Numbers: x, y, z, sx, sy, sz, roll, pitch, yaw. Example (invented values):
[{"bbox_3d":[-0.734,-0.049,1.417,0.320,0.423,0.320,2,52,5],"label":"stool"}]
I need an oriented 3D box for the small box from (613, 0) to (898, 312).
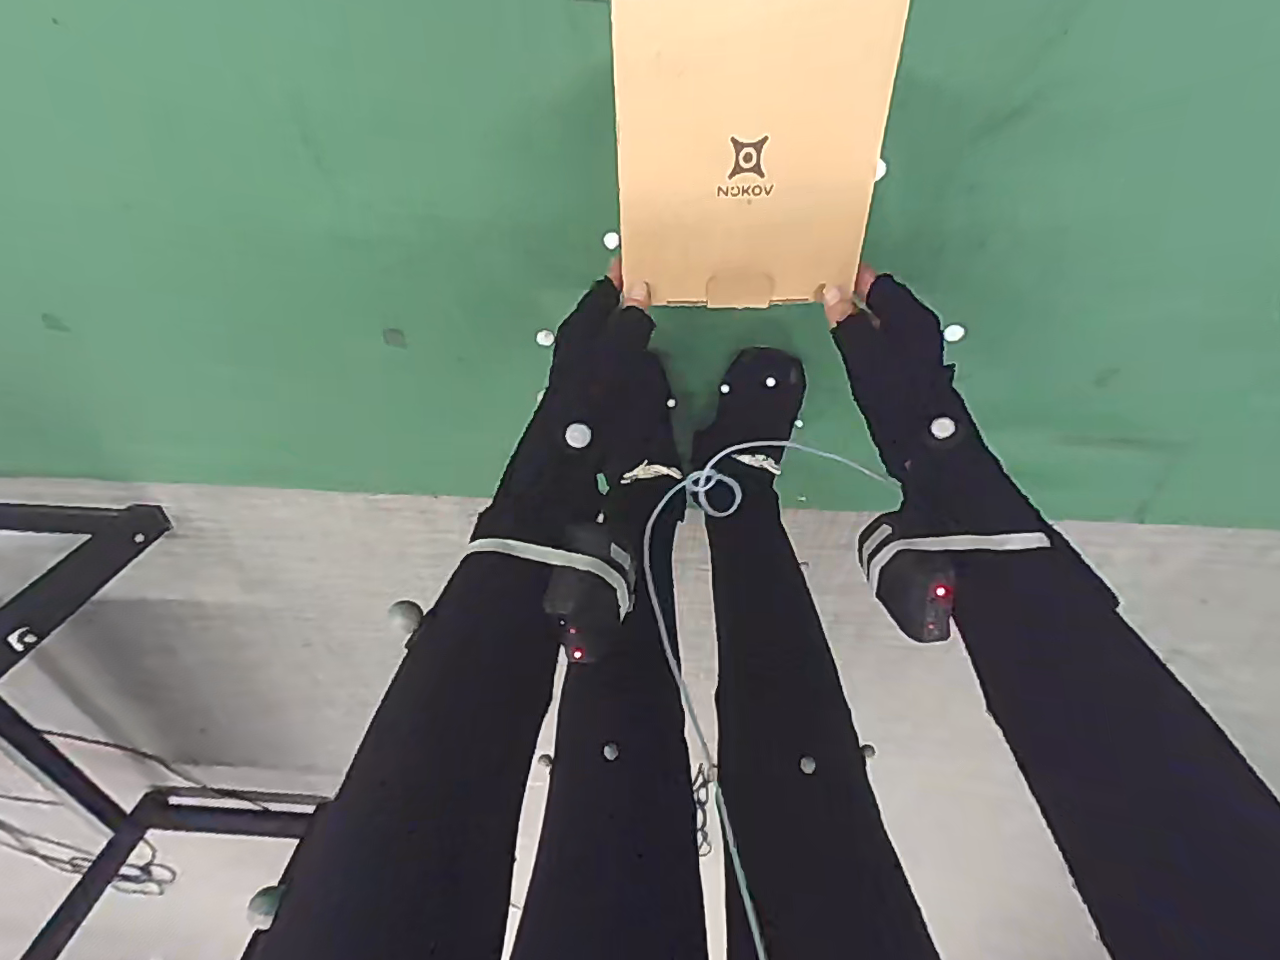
[{"bbox_3d":[0.067,-0.242,0.415,0.168,0.176,0.179,0,125,2],"label":"small box"}]
